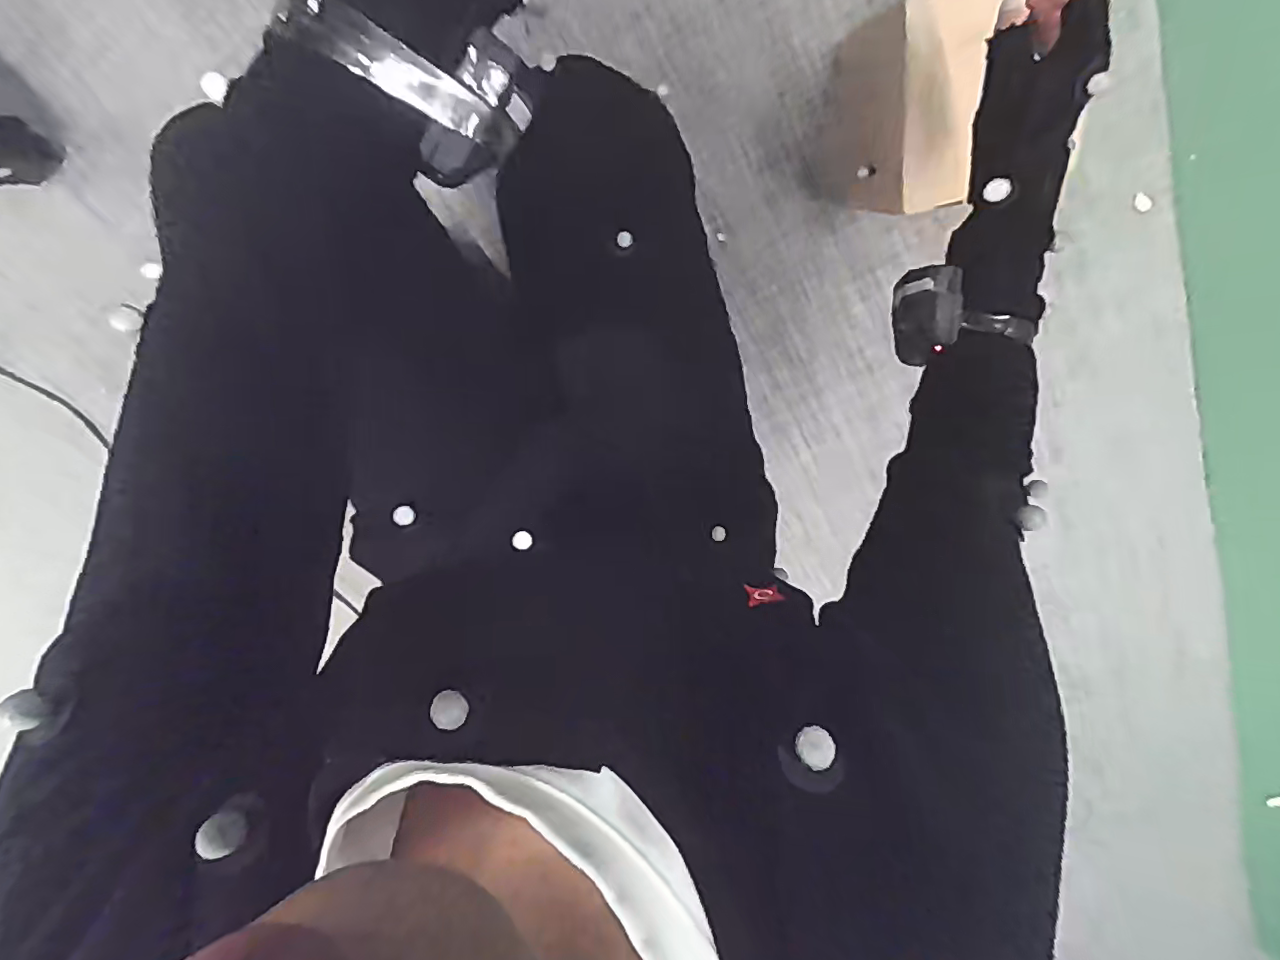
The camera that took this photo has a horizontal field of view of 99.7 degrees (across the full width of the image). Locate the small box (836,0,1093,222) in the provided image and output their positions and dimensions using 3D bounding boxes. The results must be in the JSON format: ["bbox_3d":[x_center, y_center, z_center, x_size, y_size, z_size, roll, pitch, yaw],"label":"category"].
[{"bbox_3d":[0.313,-0.386,0.561,0.168,0.176,0.179,-12,119,5],"label":"small box"}]
